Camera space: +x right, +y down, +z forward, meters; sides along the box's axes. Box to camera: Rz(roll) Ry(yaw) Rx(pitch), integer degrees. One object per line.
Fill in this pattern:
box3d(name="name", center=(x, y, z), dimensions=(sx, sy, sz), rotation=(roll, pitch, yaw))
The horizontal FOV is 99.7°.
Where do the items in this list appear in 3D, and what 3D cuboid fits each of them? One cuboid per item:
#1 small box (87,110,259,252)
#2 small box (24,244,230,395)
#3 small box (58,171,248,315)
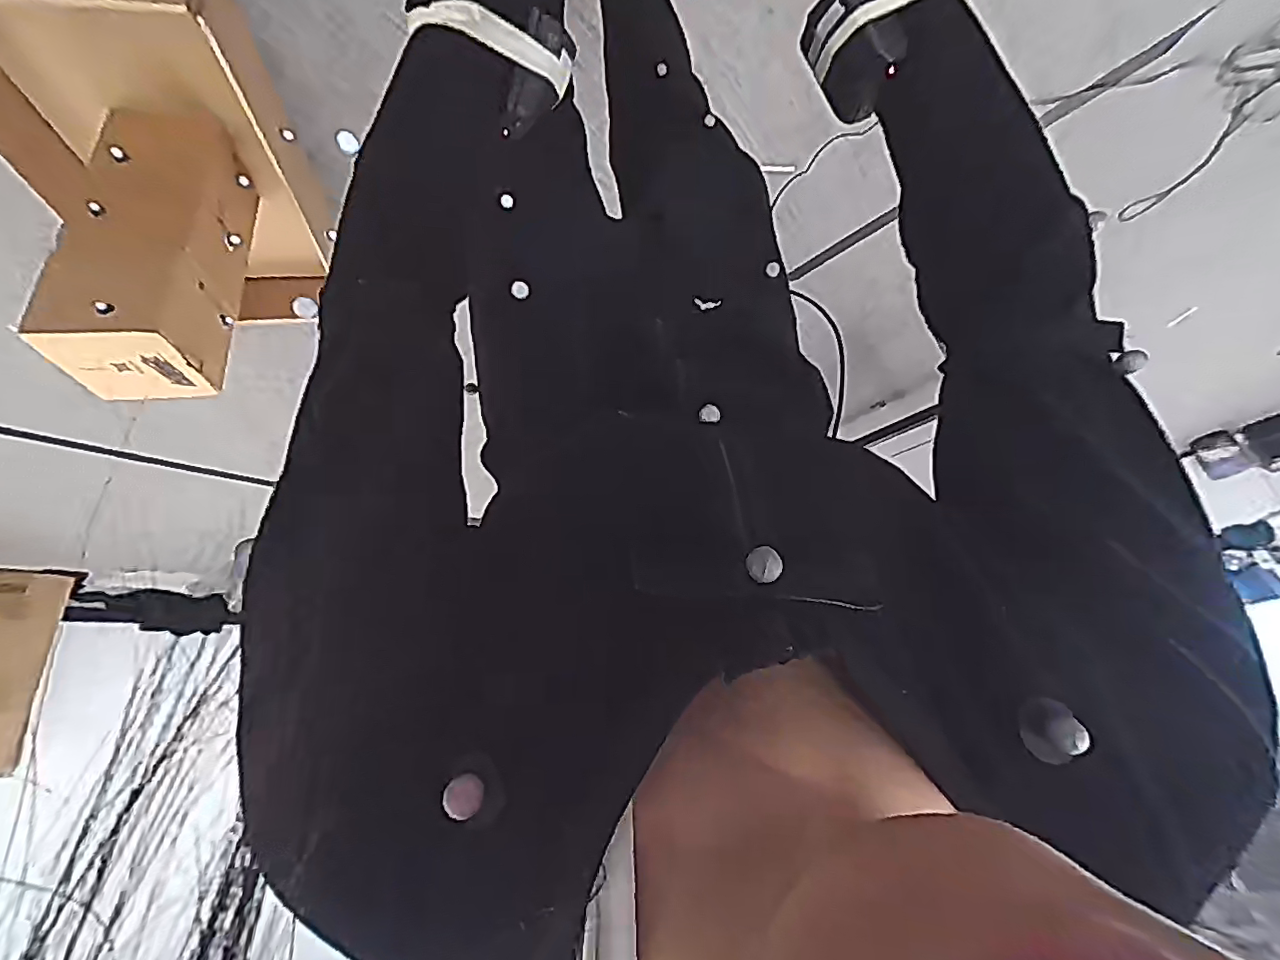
box3d(name="small box", center=(-0.841, -0.548, 0.997), dimensions=(0.179, 0.176, 0.168), rotation=(-5, 156, -14))
box3d(name="small box", center=(-0.792, -0.254, 0.863), dimensions=(0.179, 0.176, 0.168), rotation=(-4, 156, -11))
box3d(name="small box", center=(-0.815, -0.403, 0.929), dimensions=(0.179, 0.176, 0.168), rotation=(-6, 156, -12))
